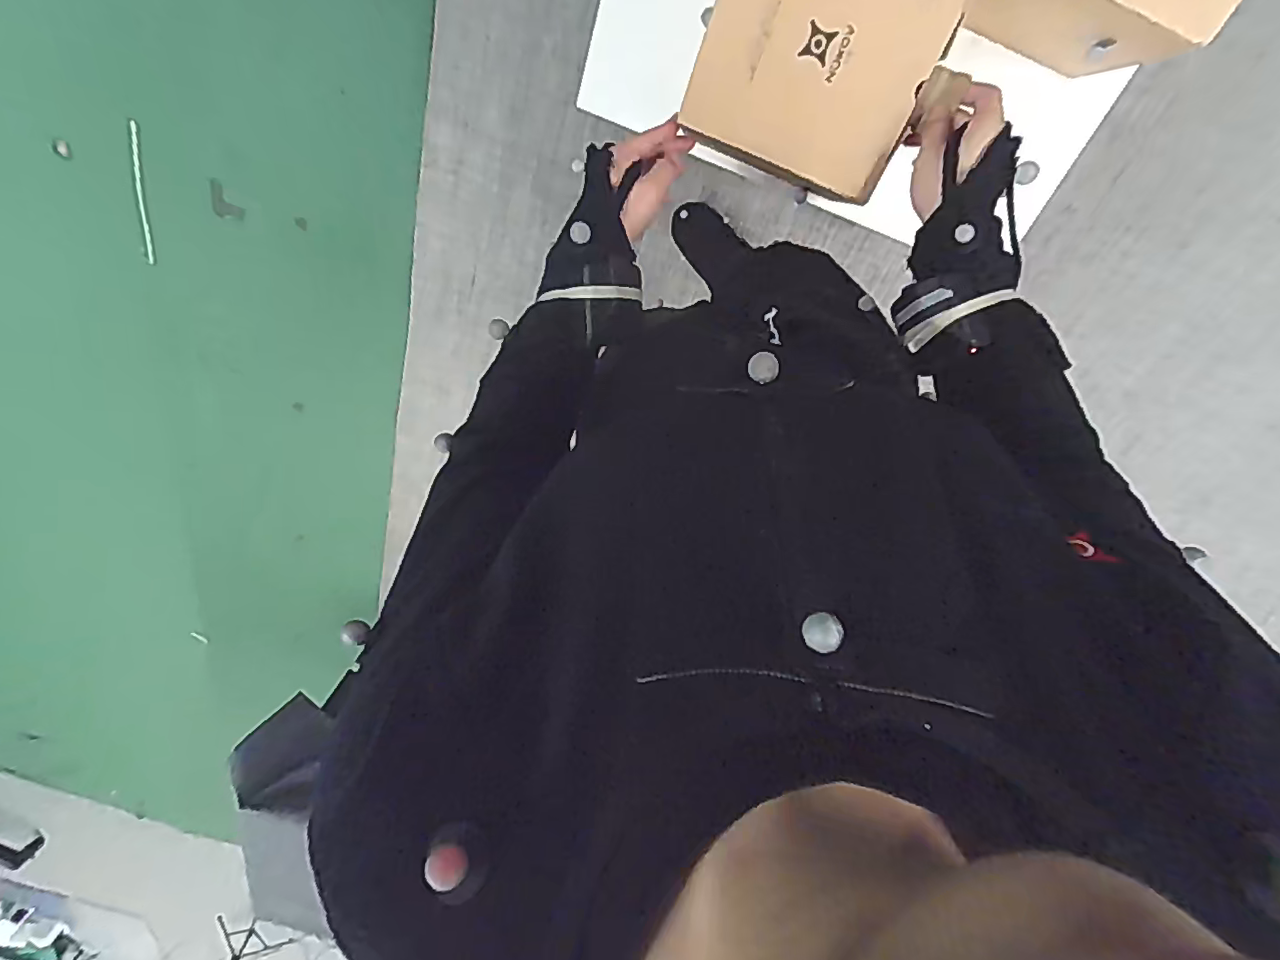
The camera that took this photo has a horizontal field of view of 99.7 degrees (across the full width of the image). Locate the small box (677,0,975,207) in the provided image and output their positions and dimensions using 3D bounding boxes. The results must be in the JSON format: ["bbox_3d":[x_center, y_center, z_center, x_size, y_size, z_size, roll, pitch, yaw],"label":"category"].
[{"bbox_3d":[0.146,-0.361,0.477,0.179,0.176,0.168,20,118,-3],"label":"small box"}]
